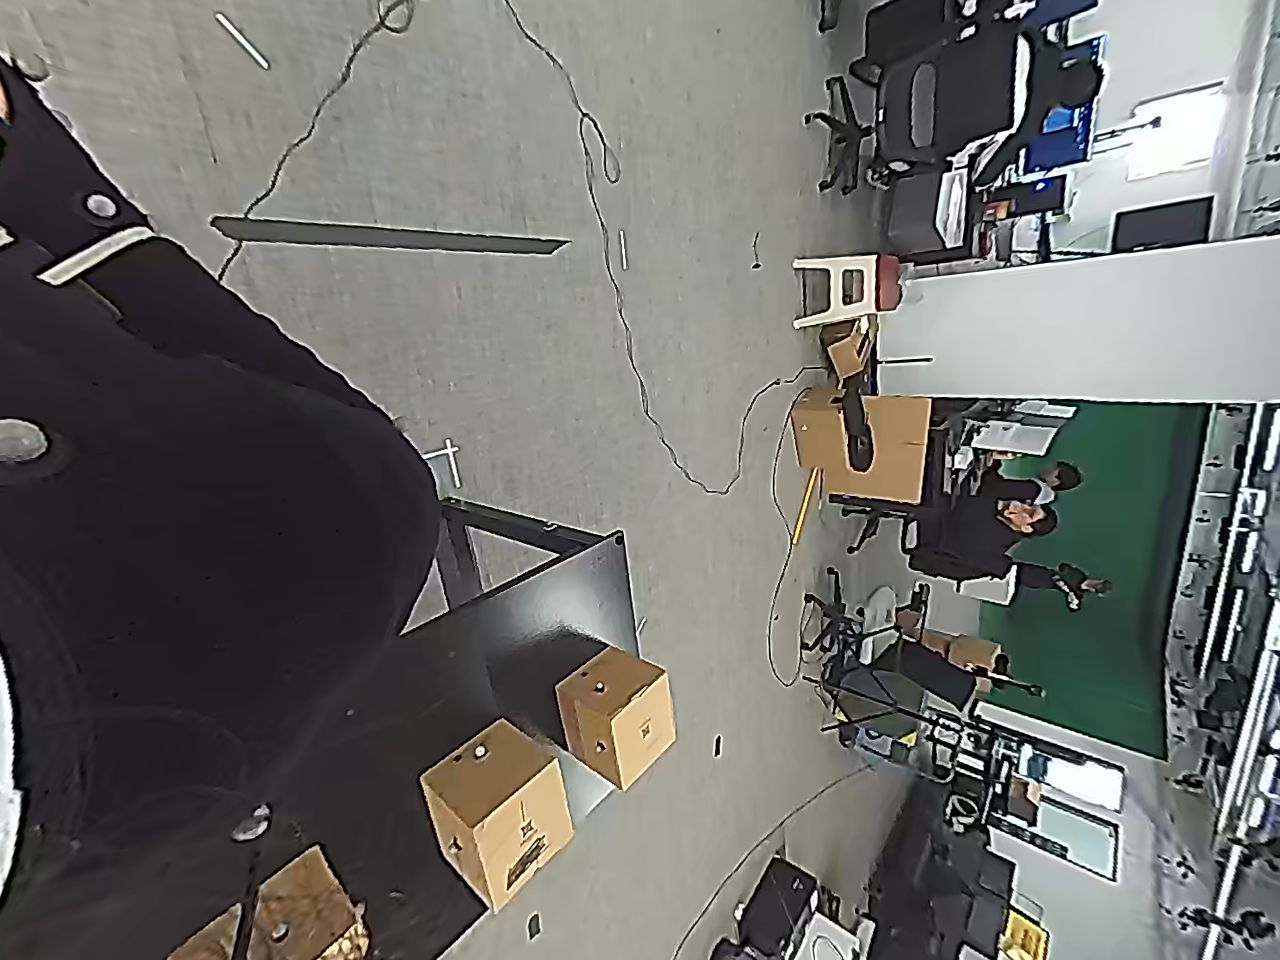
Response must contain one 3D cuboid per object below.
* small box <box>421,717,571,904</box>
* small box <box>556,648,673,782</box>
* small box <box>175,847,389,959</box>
[{"bbox_3d":[-0.244,0.547,0.922,0.168,0.176,0.179,-25,114,-44],"label":"small box"},{"bbox_3d":[-0.055,0.472,1.125,0.168,0.176,0.179,-25,115,-42],"label":"small box"},{"bbox_3d":[-0.454,0.633,0.699,0.179,0.176,0.168,-30,117,-43],"label":"small box"}]
